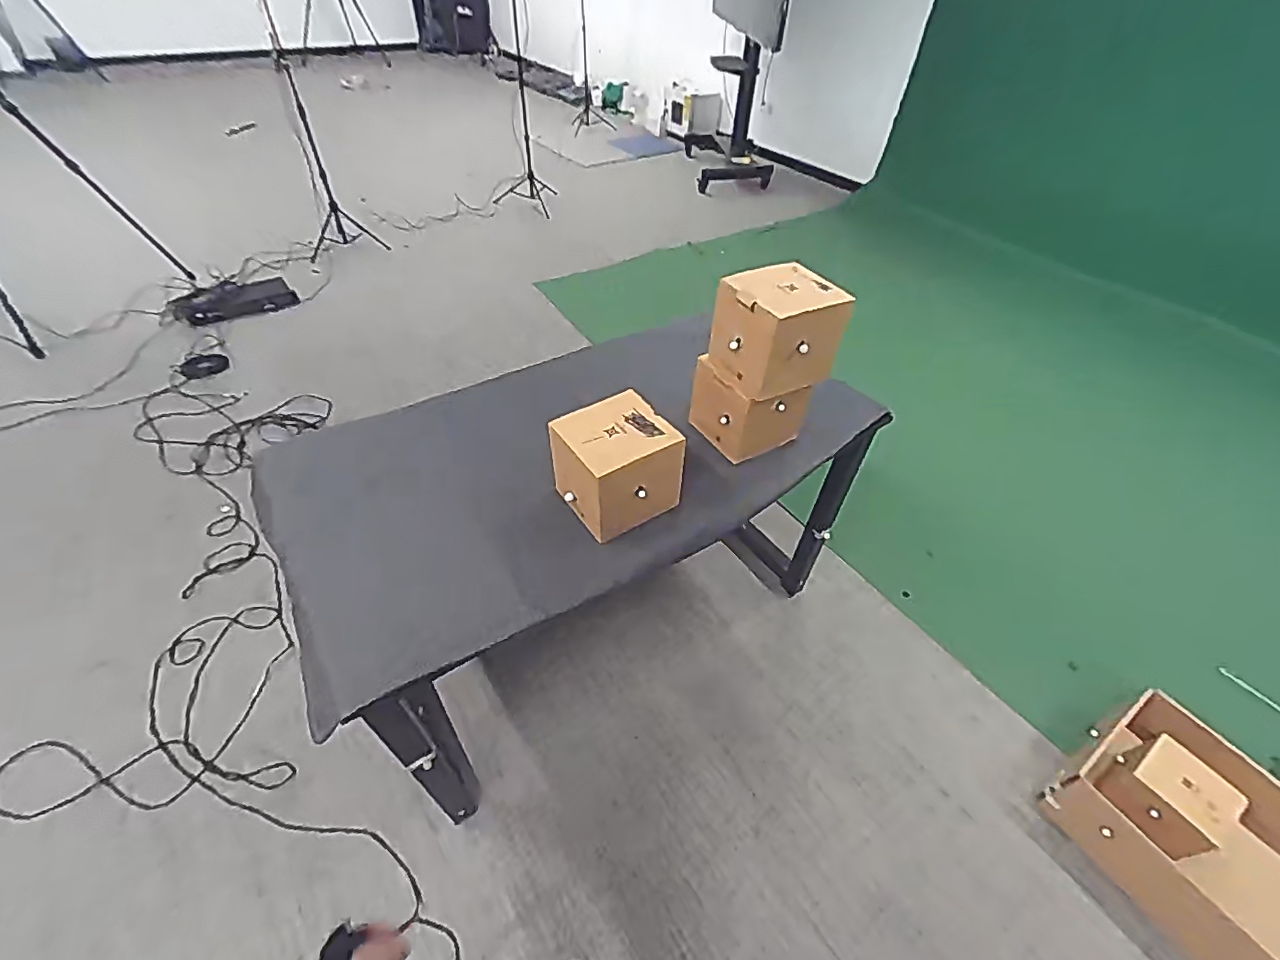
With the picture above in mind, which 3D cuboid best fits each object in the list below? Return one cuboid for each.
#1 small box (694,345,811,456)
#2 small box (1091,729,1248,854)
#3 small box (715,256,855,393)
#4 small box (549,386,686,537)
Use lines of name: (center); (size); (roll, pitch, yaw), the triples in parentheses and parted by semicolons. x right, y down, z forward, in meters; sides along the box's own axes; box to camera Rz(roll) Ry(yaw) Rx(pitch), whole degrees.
small box: (0.224, -0.175, 1.110); (0.179, 0.176, 0.168); (-22, 51, -24)
small box: (1.213, 0.724, 1.254); (0.168, 0.176, 0.179); (-25, 54, -24)
small box: (0.251, -0.283, 0.988); (0.179, 0.176, 0.168); (-20, 51, -21)
small box: (-0.042, -0.033, 0.954); (0.179, 0.176, 0.168); (-26, 52, -24)
